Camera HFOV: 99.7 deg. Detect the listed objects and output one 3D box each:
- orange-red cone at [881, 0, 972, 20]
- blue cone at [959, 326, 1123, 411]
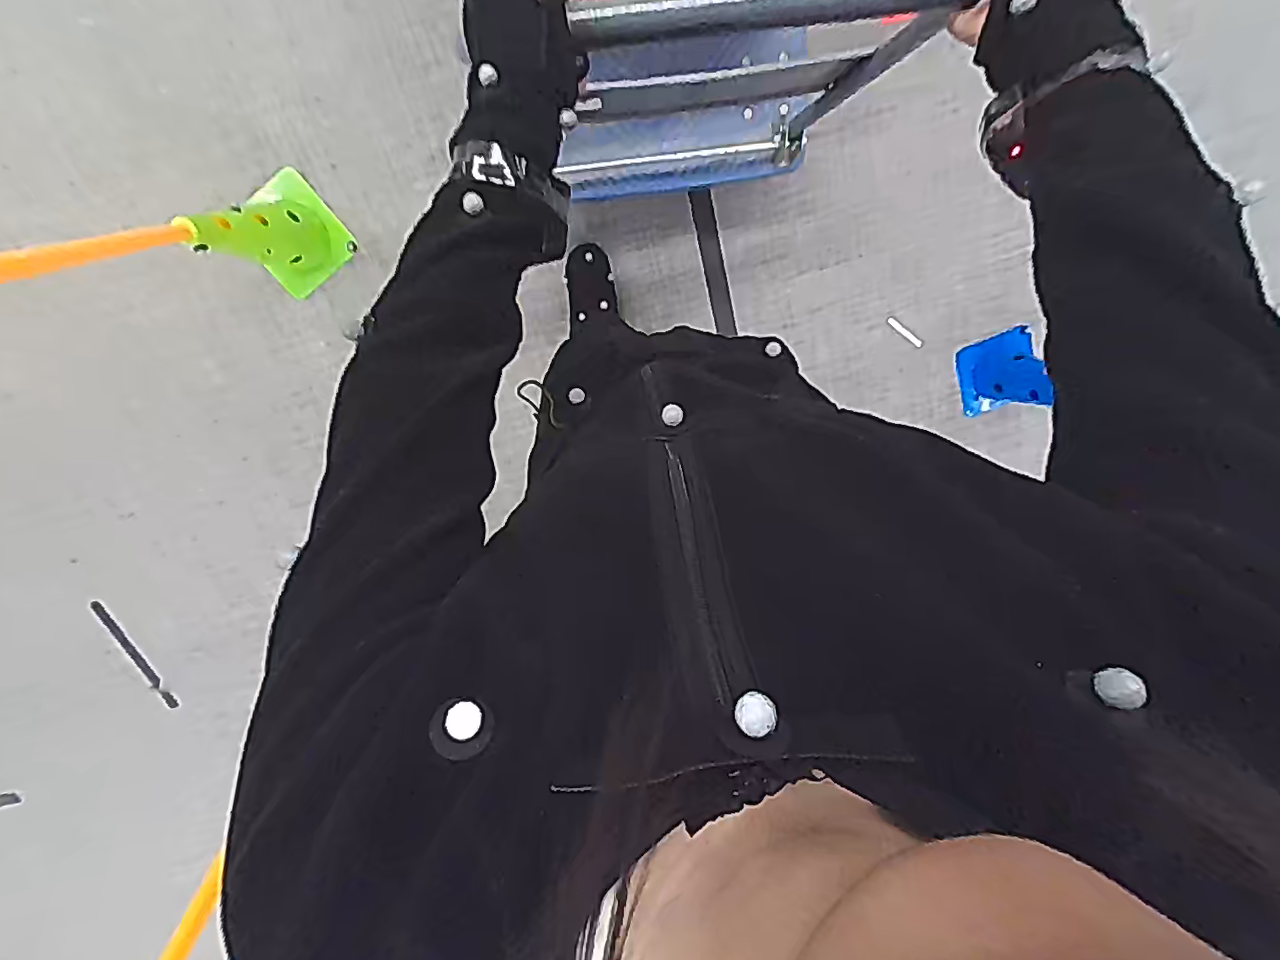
[{"bbox_3d":[0.597,-0.981,0.920,0.199,0.360,0.198,-11,114,-2],"label":"orange-red cone"},{"bbox_3d":[0.963,-0.229,1.282,0.193,0.380,0.192,-20,112,3],"label":"blue cone"}]
